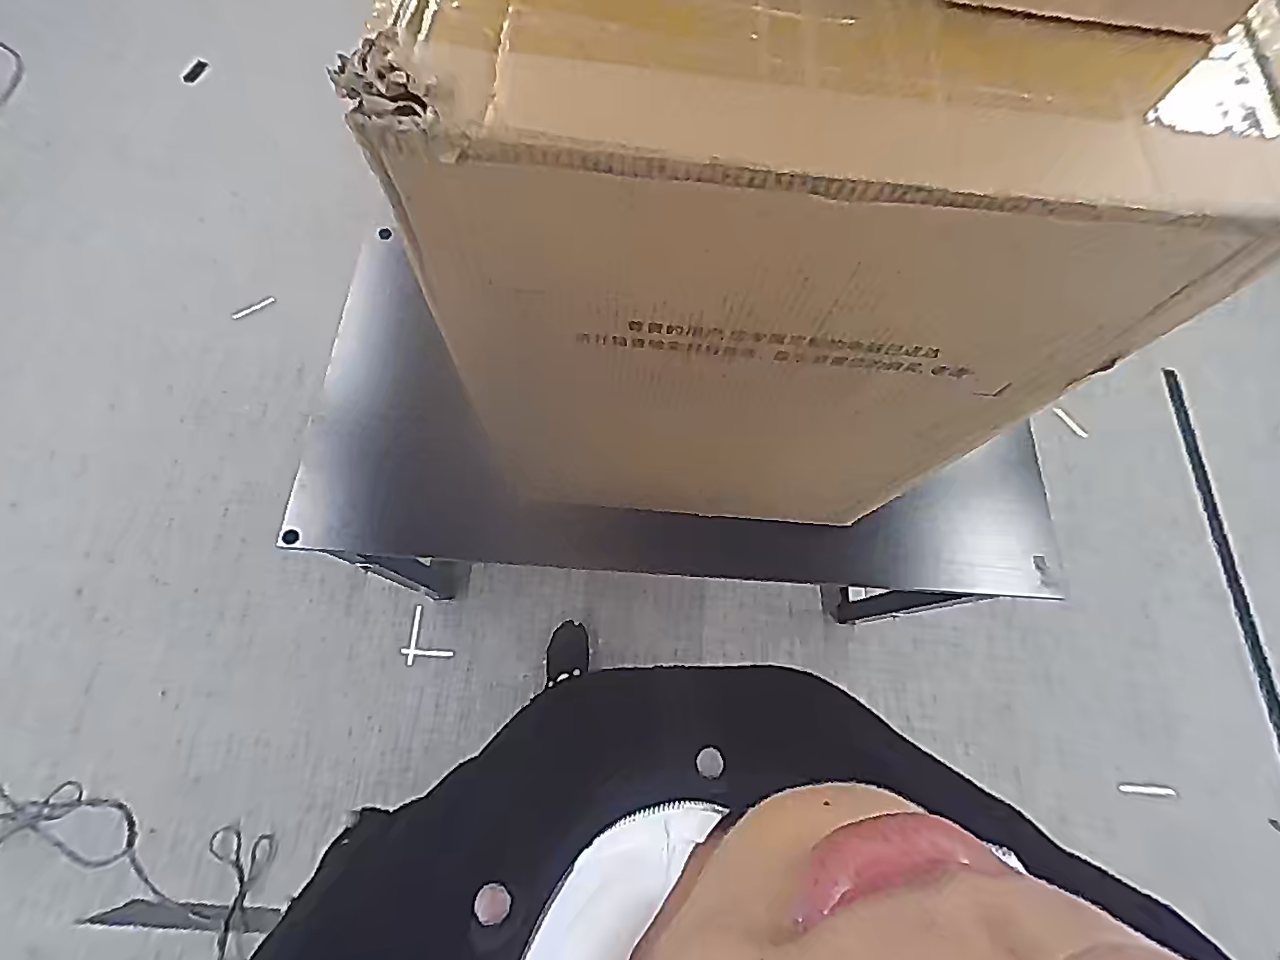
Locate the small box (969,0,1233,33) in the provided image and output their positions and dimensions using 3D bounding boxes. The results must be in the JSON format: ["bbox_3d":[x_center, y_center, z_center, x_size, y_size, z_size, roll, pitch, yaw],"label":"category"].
[{"bbox_3d":[0.264,-0.375,0.268,0.168,0.176,0.179,5,70,0],"label":"small box"}]
